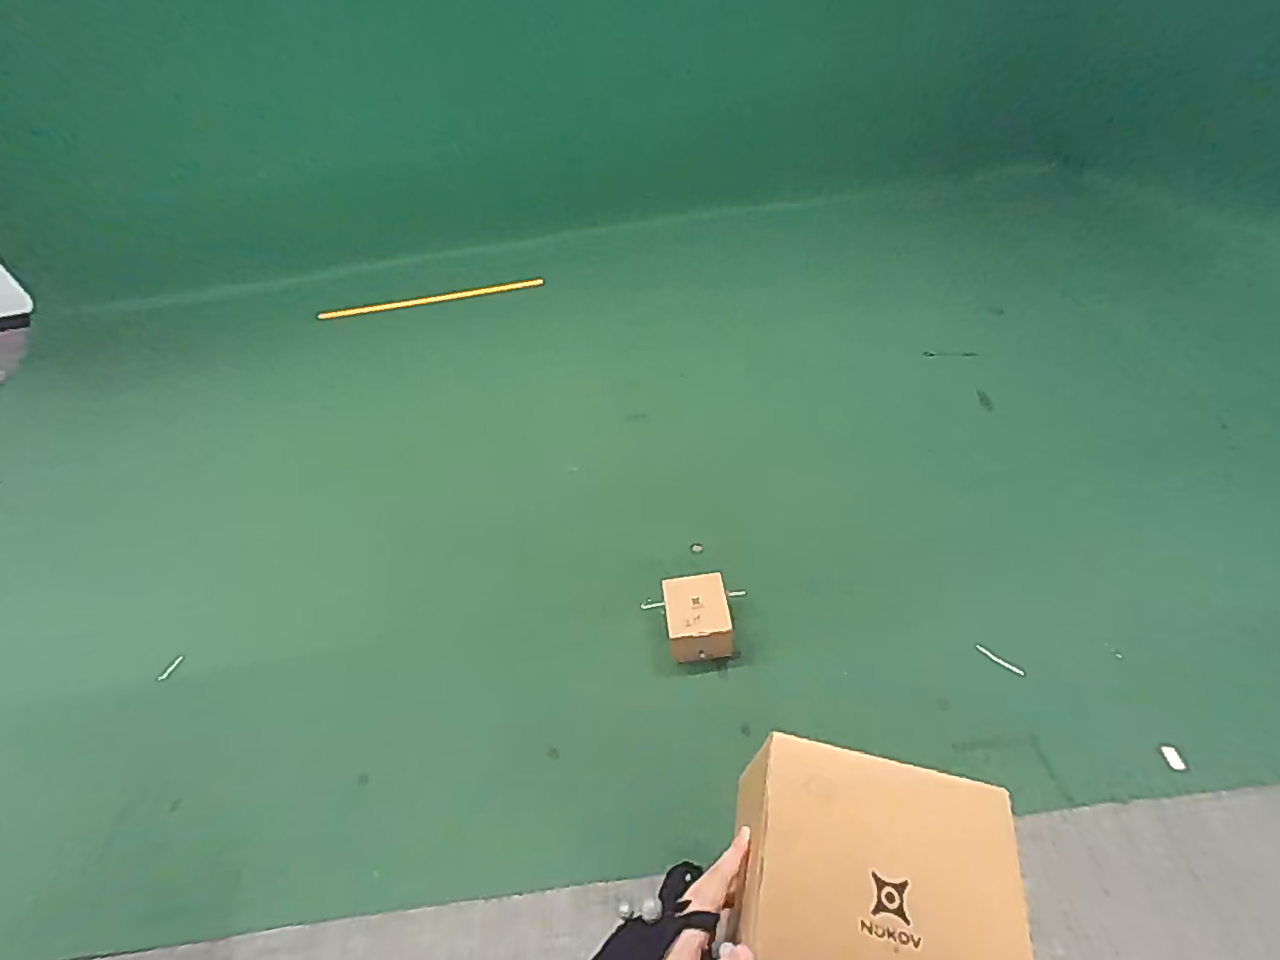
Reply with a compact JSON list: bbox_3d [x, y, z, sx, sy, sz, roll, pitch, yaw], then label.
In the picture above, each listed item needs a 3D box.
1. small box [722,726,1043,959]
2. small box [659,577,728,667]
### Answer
[{"bbox_3d":[0.159,0.312,0.398,0.168,0.176,0.179,11,52,8],"label":"small box"},{"bbox_3d":[0.145,0.394,1.494,0.168,0.176,0.179,-7,49,1],"label":"small box"}]
